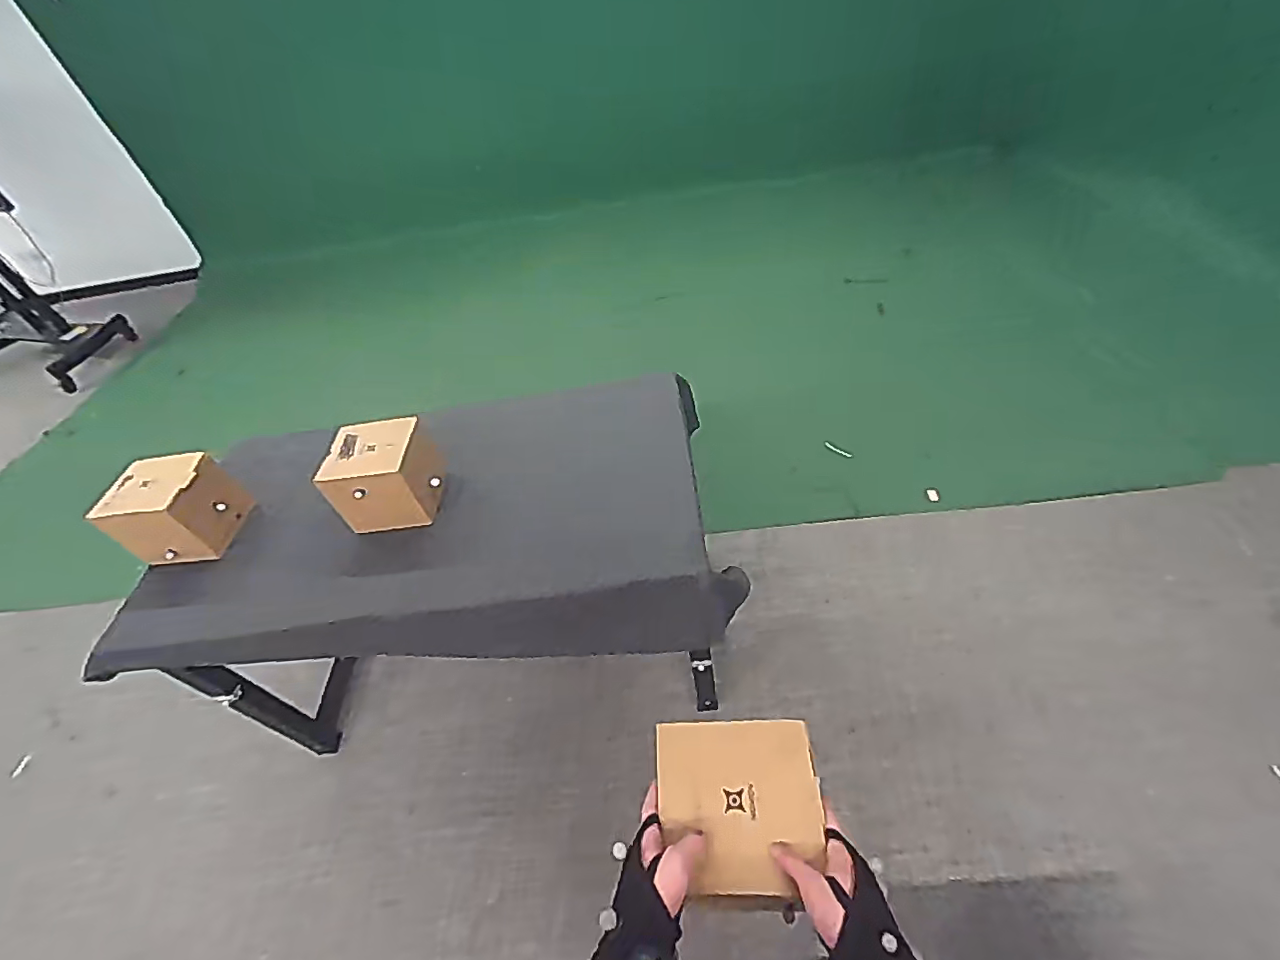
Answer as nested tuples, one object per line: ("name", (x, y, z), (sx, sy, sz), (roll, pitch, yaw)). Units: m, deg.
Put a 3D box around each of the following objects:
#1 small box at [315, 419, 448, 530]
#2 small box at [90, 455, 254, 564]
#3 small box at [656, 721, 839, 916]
("small box", (-0.540, -0.007, 1.156), (0.179, 0.176, 0.168), (-6, 47, 4))
("small box", (-1.001, 0.067, 1.180), (0.179, 0.176, 0.168), (-6, 46, 5))
("small box", (0.115, 0.396, 0.631), (0.179, 0.176, 0.168), (-6, 47, 6))
